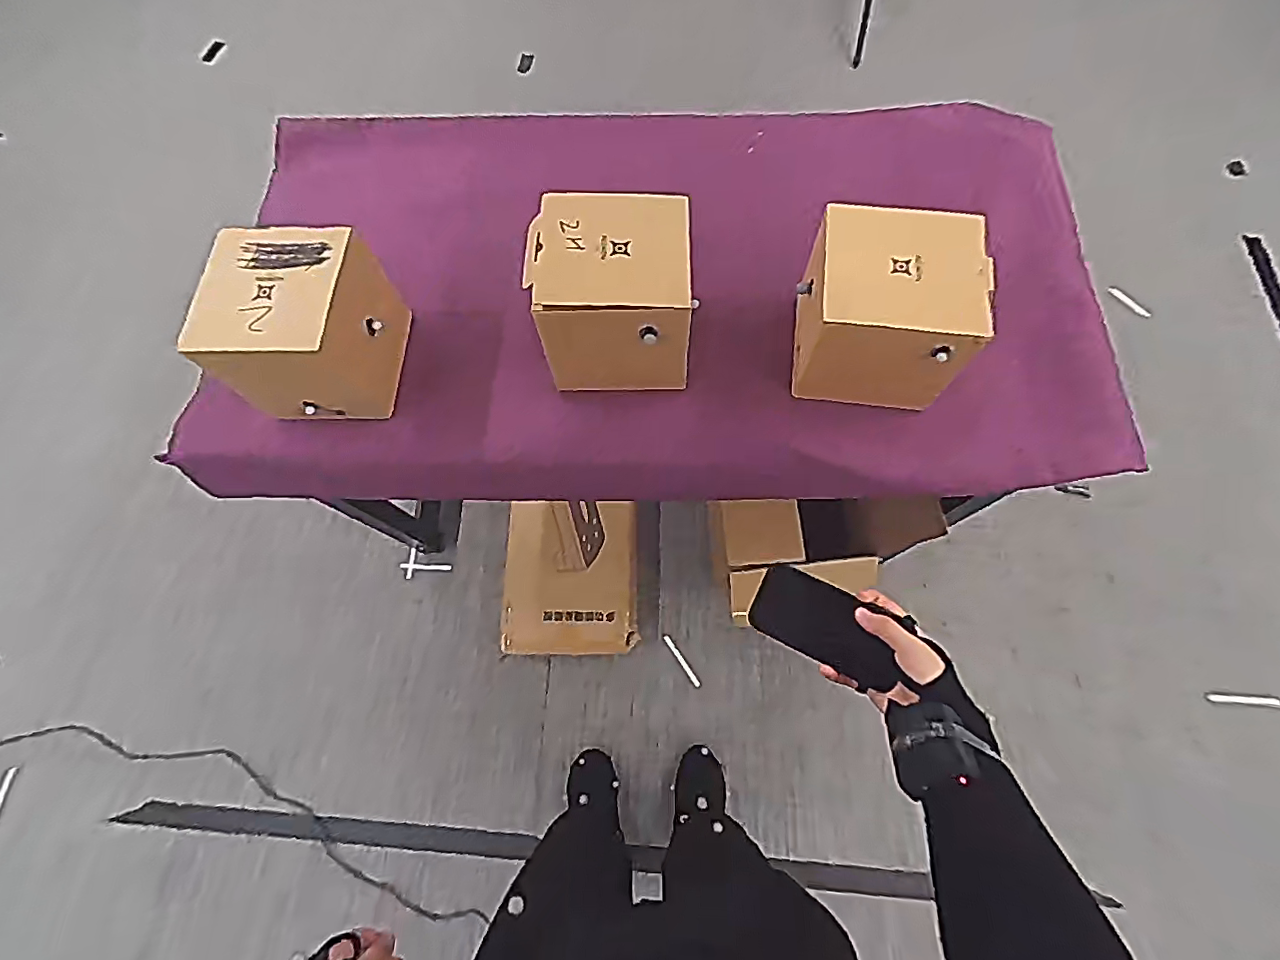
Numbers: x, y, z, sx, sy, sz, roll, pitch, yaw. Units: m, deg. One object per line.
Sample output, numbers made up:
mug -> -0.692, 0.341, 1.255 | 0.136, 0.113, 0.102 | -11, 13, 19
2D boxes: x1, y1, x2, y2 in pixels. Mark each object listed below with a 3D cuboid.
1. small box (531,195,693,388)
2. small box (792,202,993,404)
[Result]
small box -> -0.027, -0.228, 0.683 | 0.179, 0.176, 0.168 | 0, 67, 3
small box -> 0.290, -0.207, 0.661 | 0.179, 0.176, 0.168 | 6, 70, 5
